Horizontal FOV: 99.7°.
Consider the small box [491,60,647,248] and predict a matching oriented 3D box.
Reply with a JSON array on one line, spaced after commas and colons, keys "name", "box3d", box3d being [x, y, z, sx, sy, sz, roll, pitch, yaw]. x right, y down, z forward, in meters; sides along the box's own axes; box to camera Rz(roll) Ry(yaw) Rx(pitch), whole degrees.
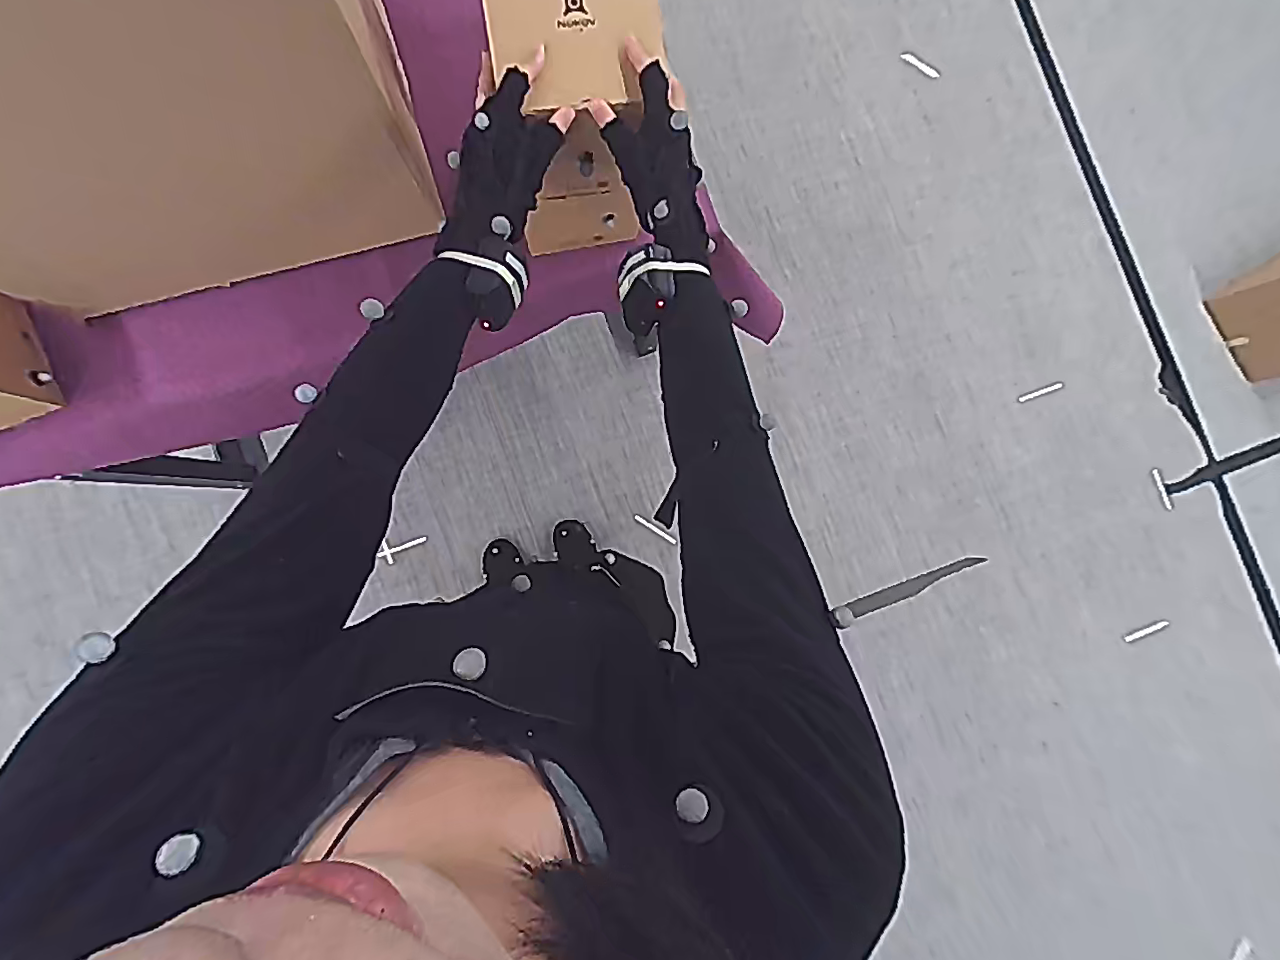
[{"name": "small box", "box3d": [-0.093, -0.438, 0.741, 0.168, 0.176, 0.179, -12, 91, -6]}]

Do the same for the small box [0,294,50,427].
[{"name": "small box", "box3d": [-0.886, -0.151, 0.651, 0.179, 0.176, 0.168, -24, 88, -7]}]

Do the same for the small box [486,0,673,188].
[{"name": "small box", "box3d": [-0.066, -0.436, 0.580, 0.168, 0.176, 0.179, -9, 94, -6]}]
